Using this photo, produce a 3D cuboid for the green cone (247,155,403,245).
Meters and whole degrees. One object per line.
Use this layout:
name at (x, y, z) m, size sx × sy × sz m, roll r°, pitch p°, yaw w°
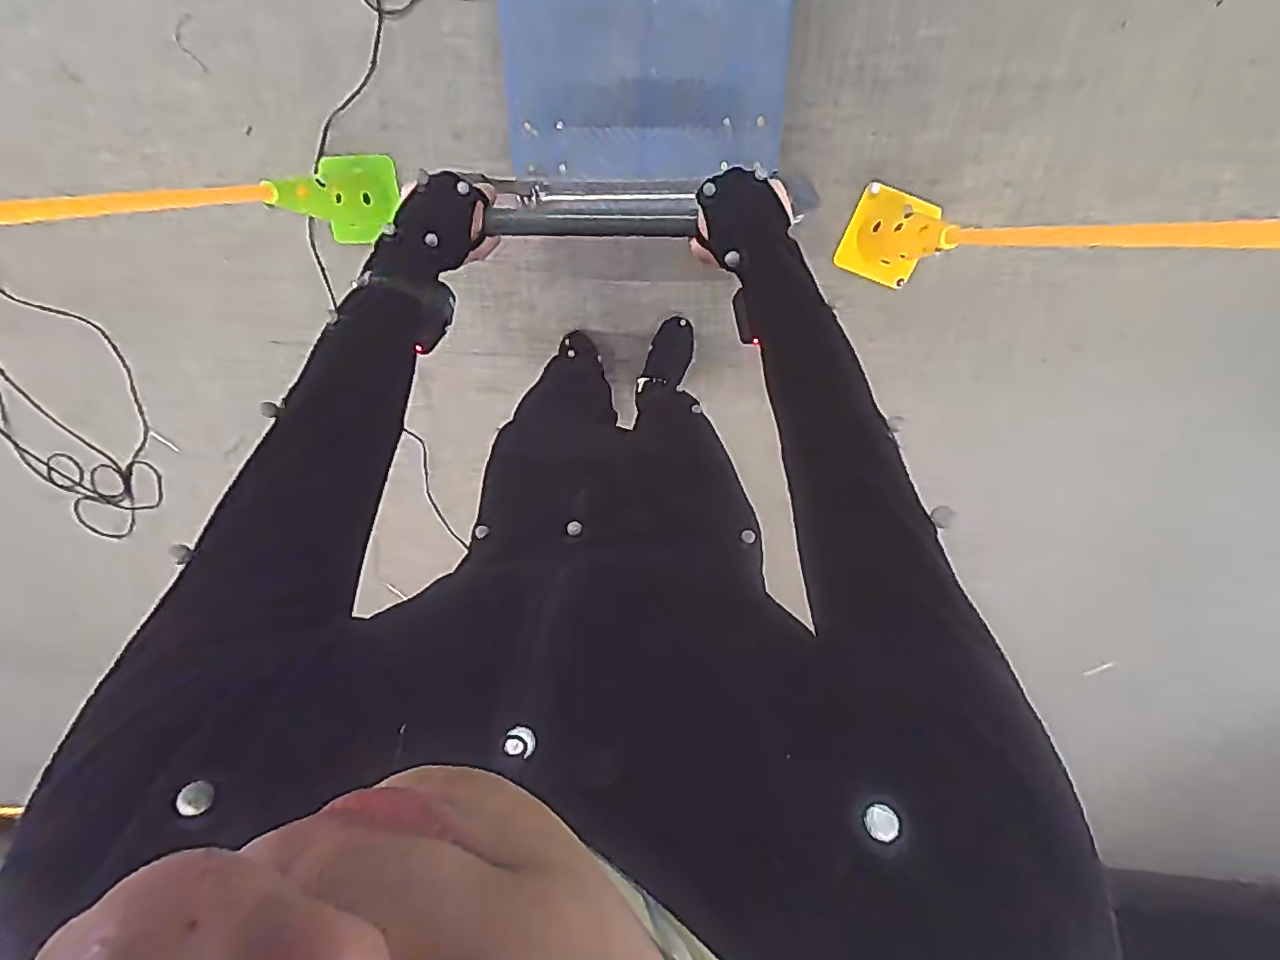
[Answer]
green cone at (-0.733, -0.642, 1.225) m, size 0.202 × 0.368 × 0.200 m, roll 1°, pitch 114°, yaw 6°
